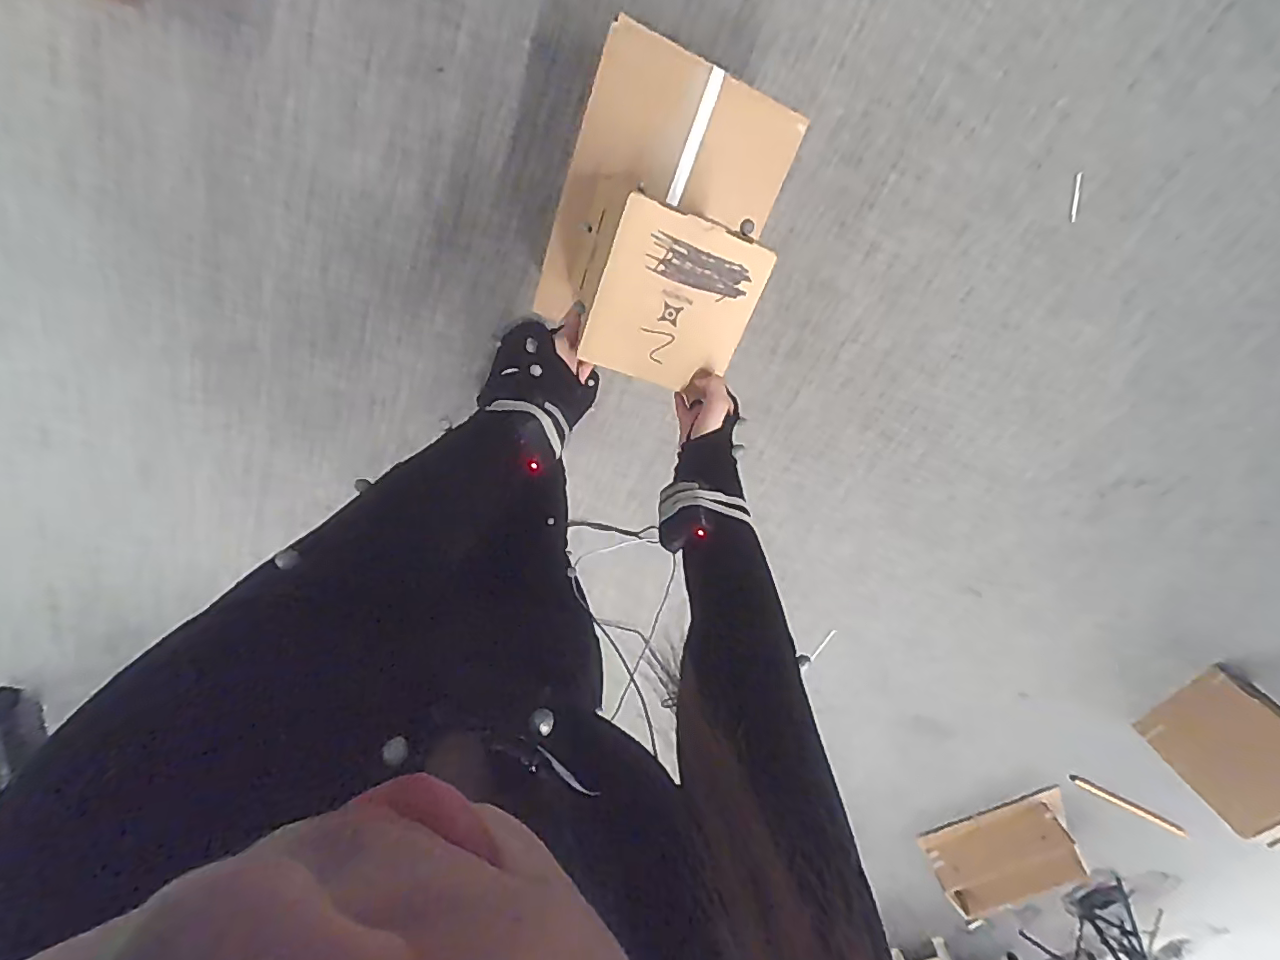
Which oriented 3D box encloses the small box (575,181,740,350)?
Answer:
[{"bbox_3d":[0.013,-0.313,0.777,0.179,0.176,0.168,15,118,-15],"label":"small box"}]
